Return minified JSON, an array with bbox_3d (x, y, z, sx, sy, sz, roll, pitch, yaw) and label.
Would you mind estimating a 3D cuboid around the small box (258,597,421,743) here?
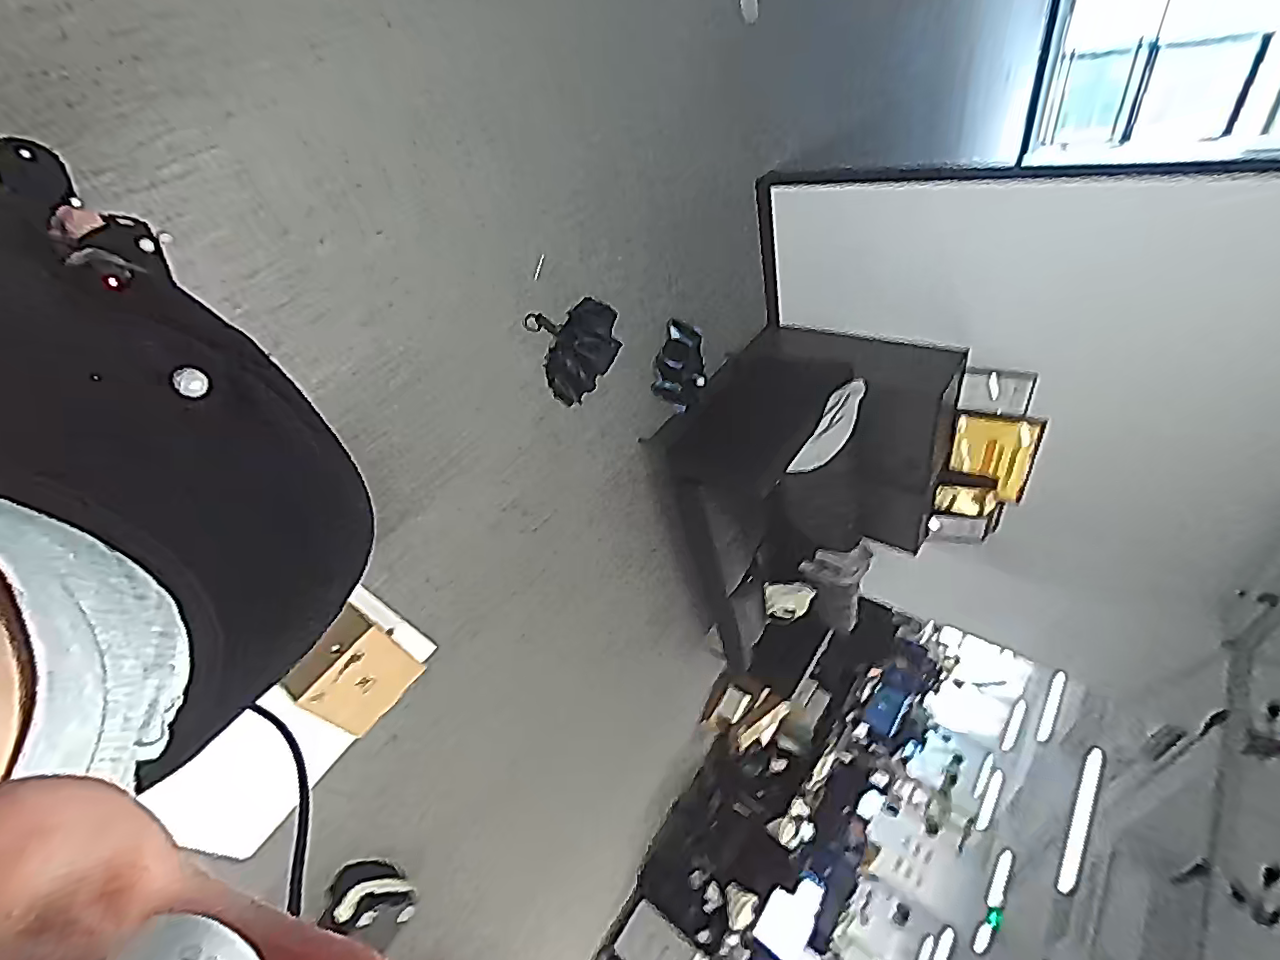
[{"bbox_3d":[-0.557,0.348,1.011,0.168,0.176,0.179,-49,142,-26],"label":"small box"}]
